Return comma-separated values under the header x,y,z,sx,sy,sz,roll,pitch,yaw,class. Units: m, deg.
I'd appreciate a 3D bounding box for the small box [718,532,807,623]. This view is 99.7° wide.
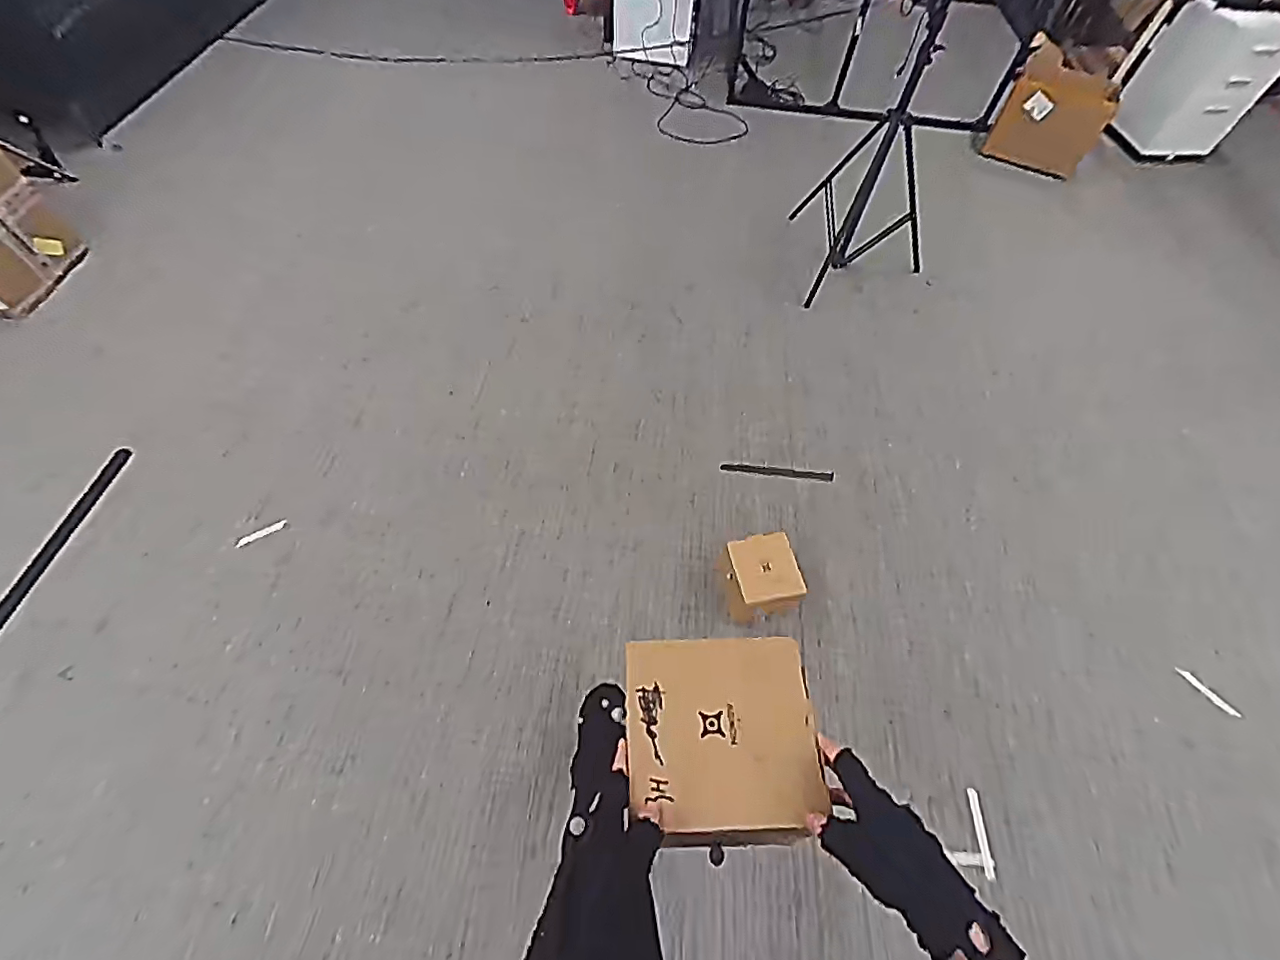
x,y,z,sx,sy,sz,roll,pitch,yaw,class
0.317,0.264,1.447,0.168,0.176,0.179,-10,59,-8,small box

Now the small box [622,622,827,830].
x,y,z,sx,sy,sz,roll,pitch,yaw,class
0.070,0.259,0.565,0.179,0.176,0.168,-1,52,-1,small box
